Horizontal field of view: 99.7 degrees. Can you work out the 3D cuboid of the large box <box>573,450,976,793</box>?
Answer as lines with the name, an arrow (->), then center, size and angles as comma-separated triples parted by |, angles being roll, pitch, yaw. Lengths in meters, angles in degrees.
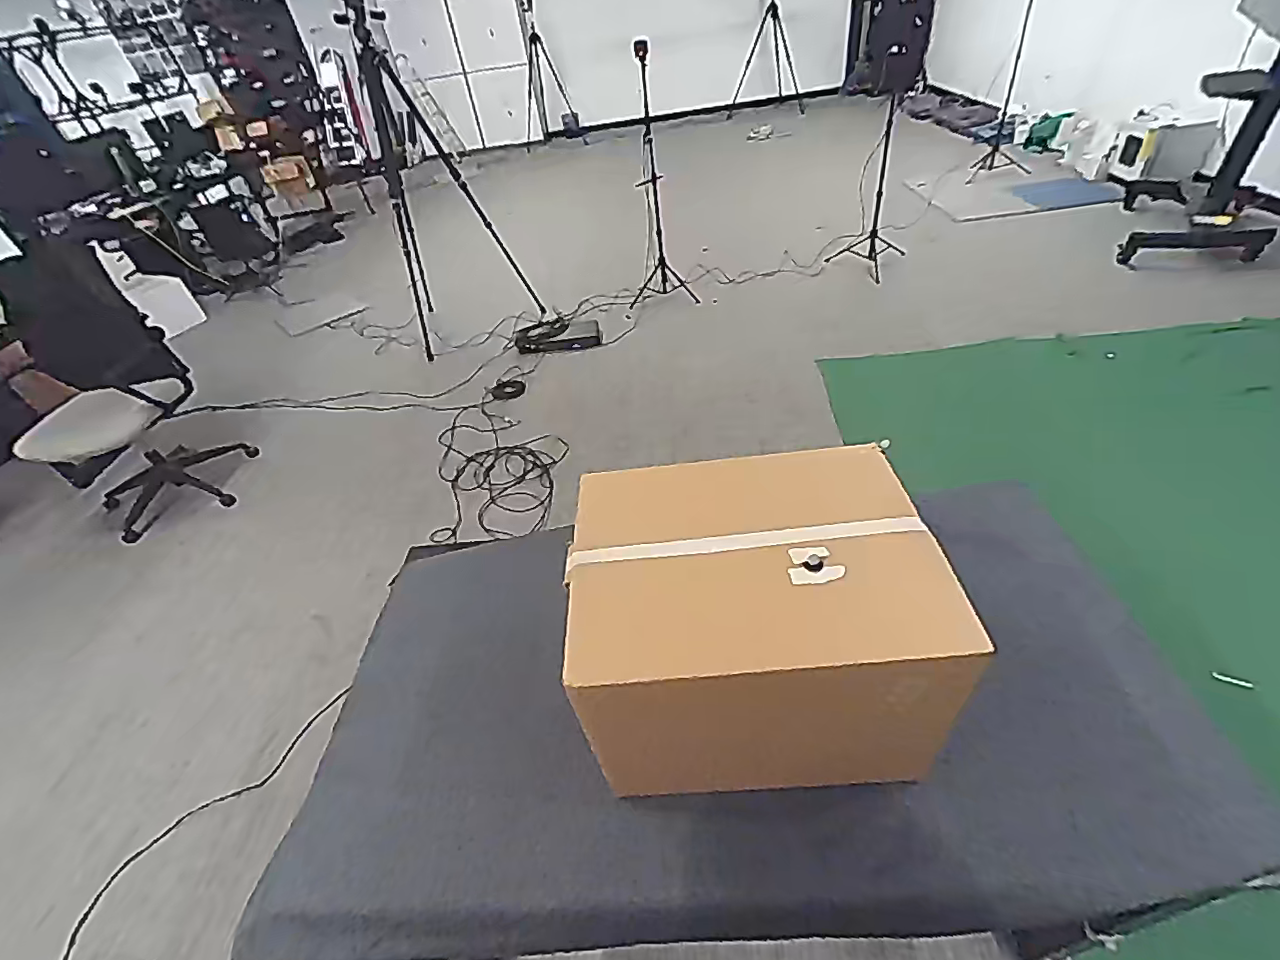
large box -> 0.139, 0.192, 0.734 | 0.408, 0.320, 0.320 | -6, 42, 4
